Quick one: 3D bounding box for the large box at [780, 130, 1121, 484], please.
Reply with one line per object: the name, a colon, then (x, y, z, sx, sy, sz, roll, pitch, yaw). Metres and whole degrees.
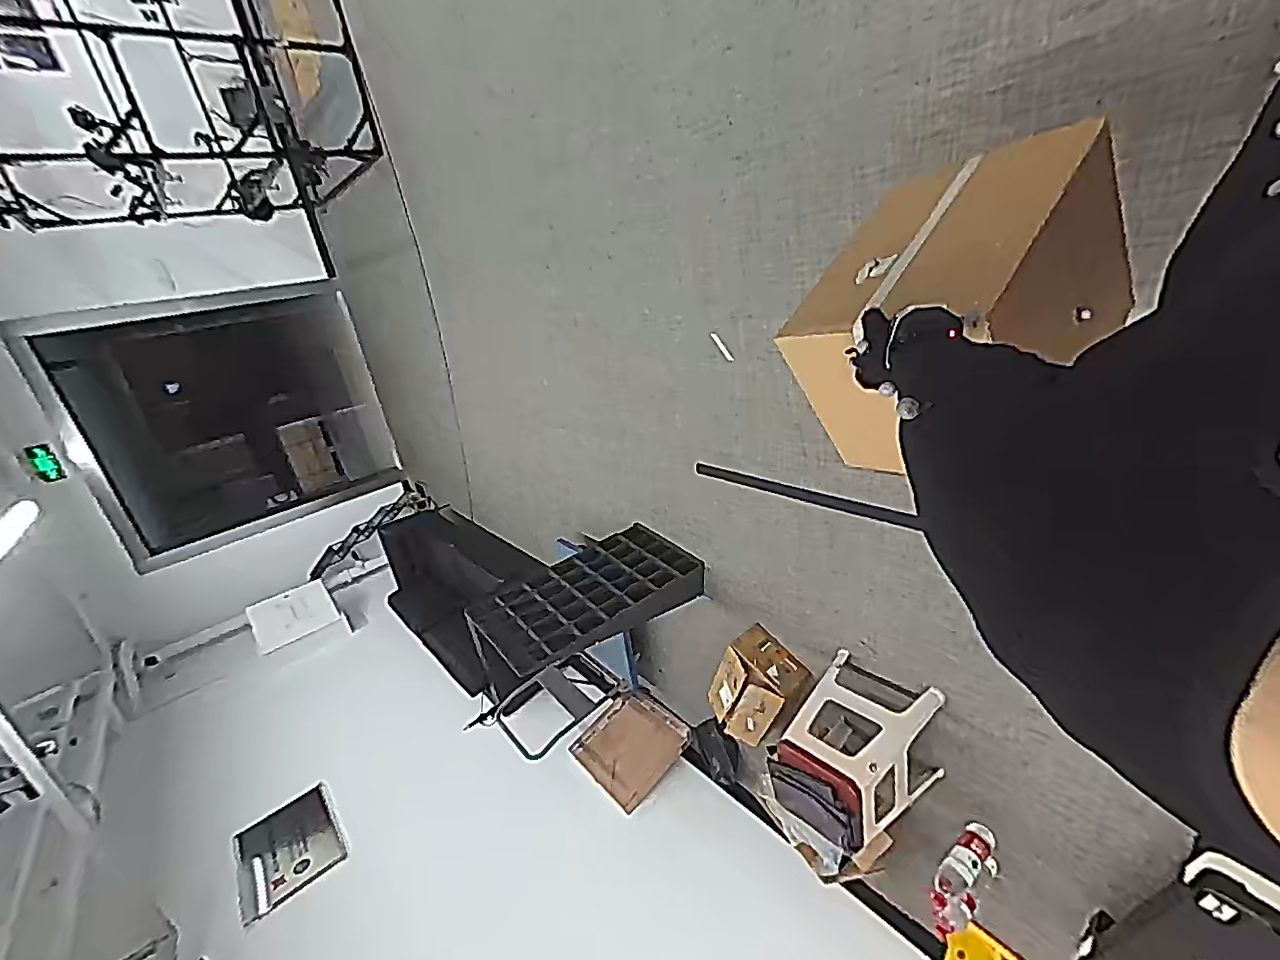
large box: (0.509, -0.256, 0.877, 0.320, 0.408, 0.320, 47, 162, -29)
